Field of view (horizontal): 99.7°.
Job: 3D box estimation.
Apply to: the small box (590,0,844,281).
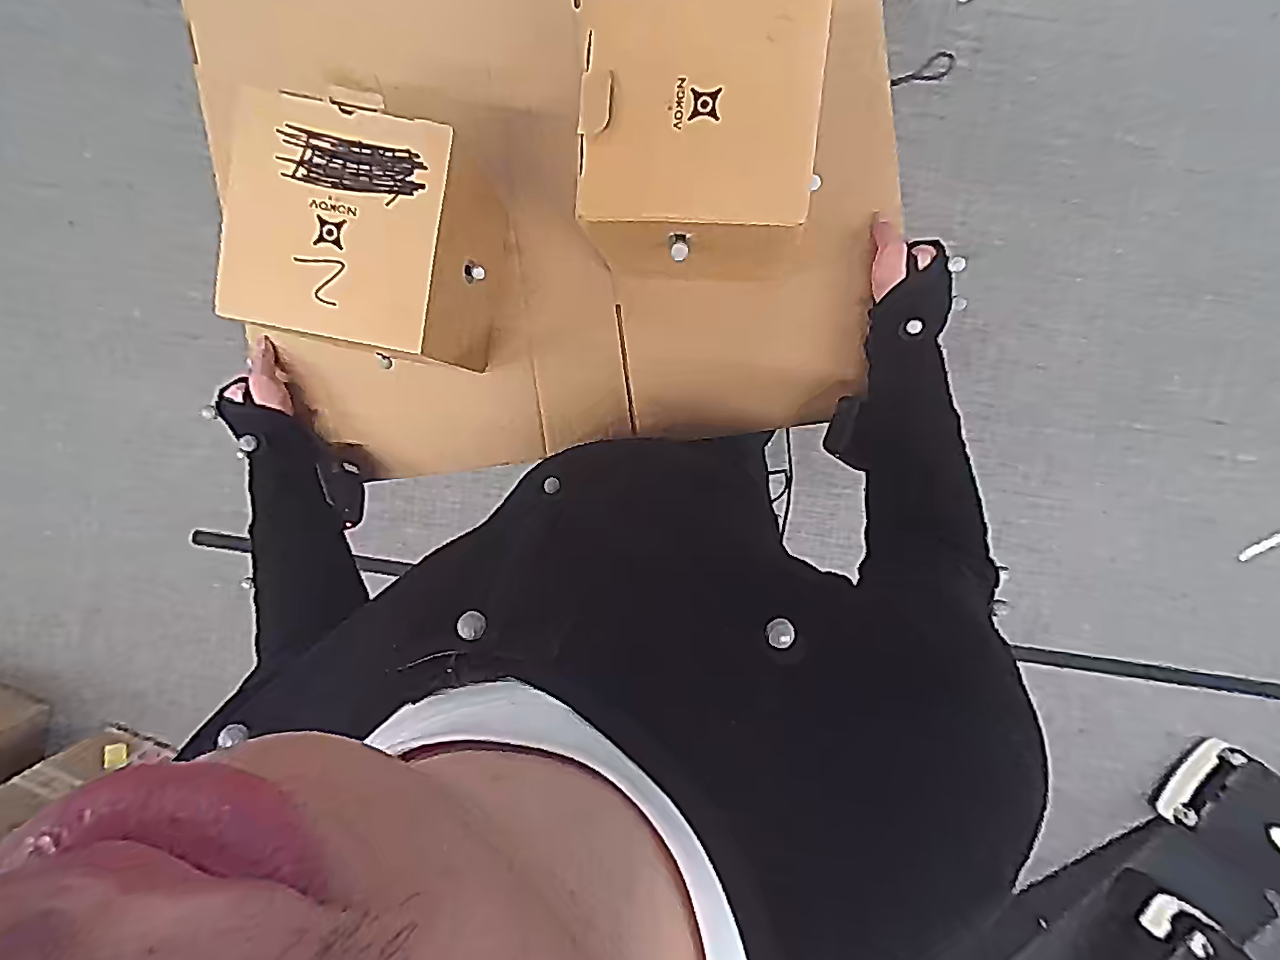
[{"bbox_3d":[0.065,-0.285,0.485,0.179,0.176,0.168,7,97,8],"label":"small box"}]
